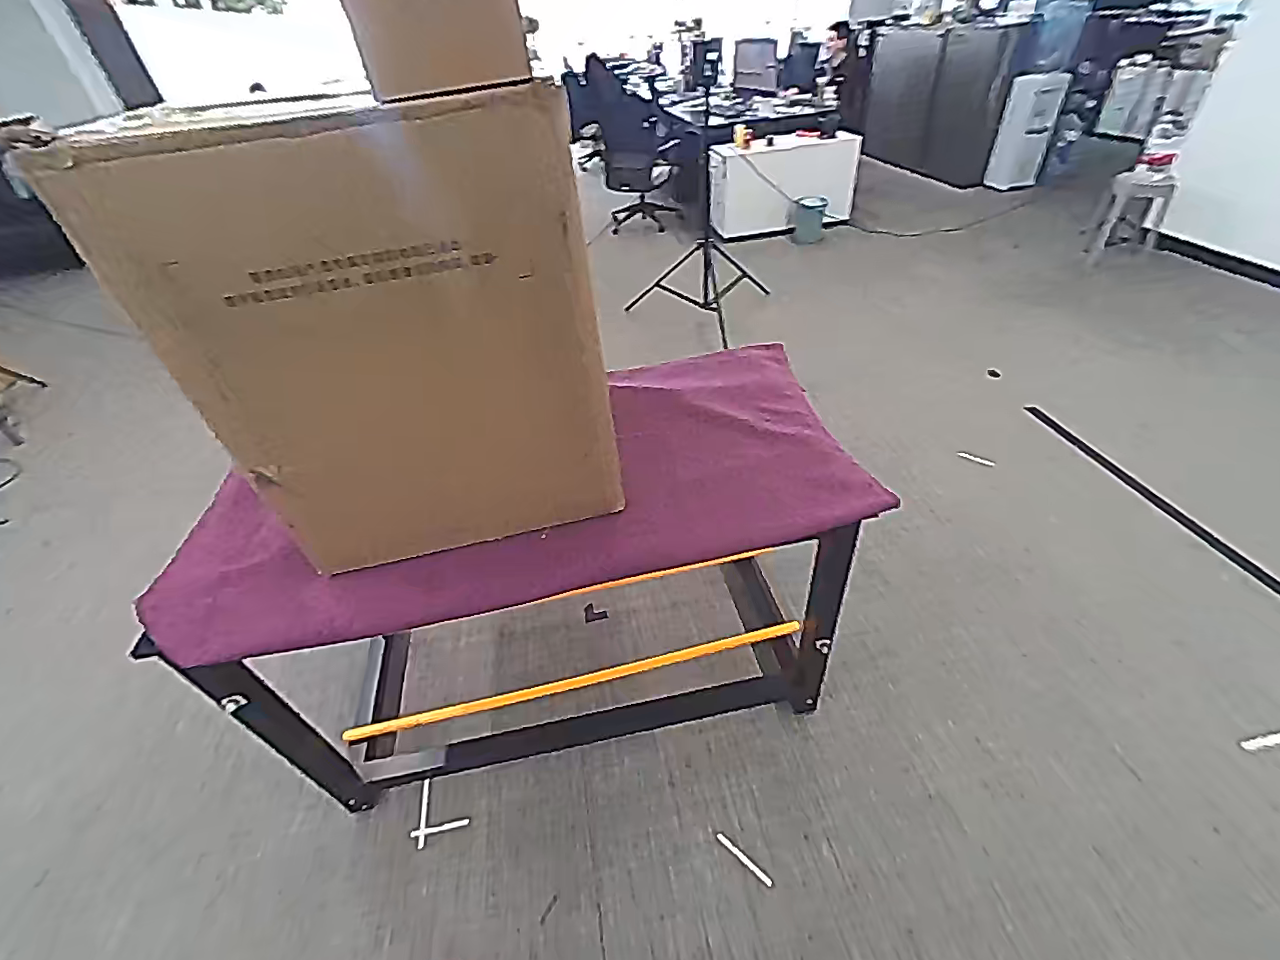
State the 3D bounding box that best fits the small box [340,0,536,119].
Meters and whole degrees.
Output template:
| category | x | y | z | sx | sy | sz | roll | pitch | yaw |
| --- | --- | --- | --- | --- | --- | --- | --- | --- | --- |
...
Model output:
| category | x | y | z | sx | sy | sz | roll | pitch | yaw |
| --- | --- | --- | --- | --- | --- | --- | --- | --- | --- |
| small box | -0.209 | -0.496 | 0.561 | 0.168 | 0.176 | 0.179 | -11 | 41 | -4 |
